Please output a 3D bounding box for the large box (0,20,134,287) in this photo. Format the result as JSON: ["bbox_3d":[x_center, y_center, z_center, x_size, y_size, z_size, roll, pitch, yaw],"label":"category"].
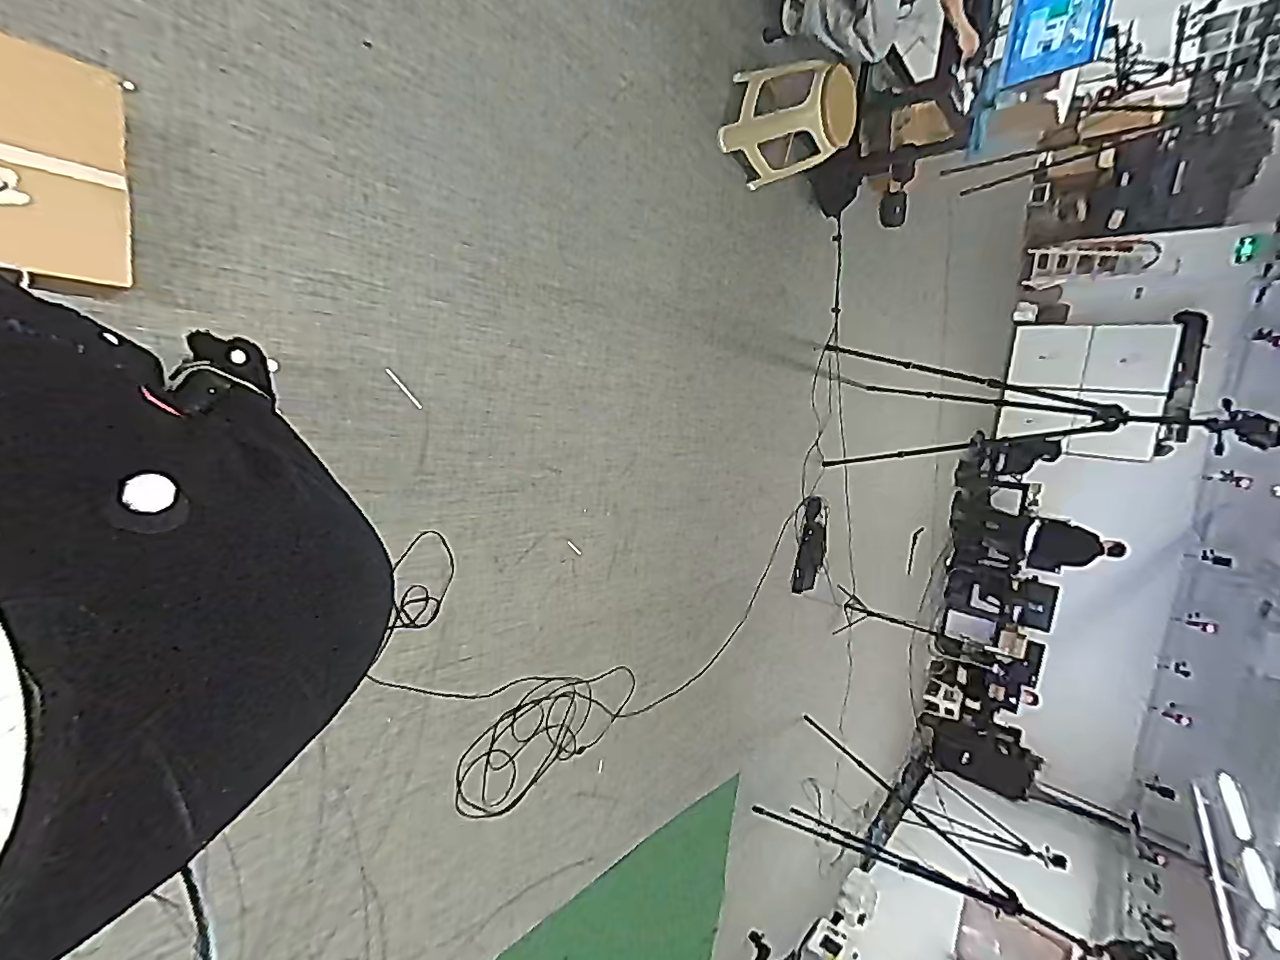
[{"bbox_3d":[-1.042,-0.491,0.793,0.408,0.320,0.320,-4,103,-48],"label":"large box"}]
